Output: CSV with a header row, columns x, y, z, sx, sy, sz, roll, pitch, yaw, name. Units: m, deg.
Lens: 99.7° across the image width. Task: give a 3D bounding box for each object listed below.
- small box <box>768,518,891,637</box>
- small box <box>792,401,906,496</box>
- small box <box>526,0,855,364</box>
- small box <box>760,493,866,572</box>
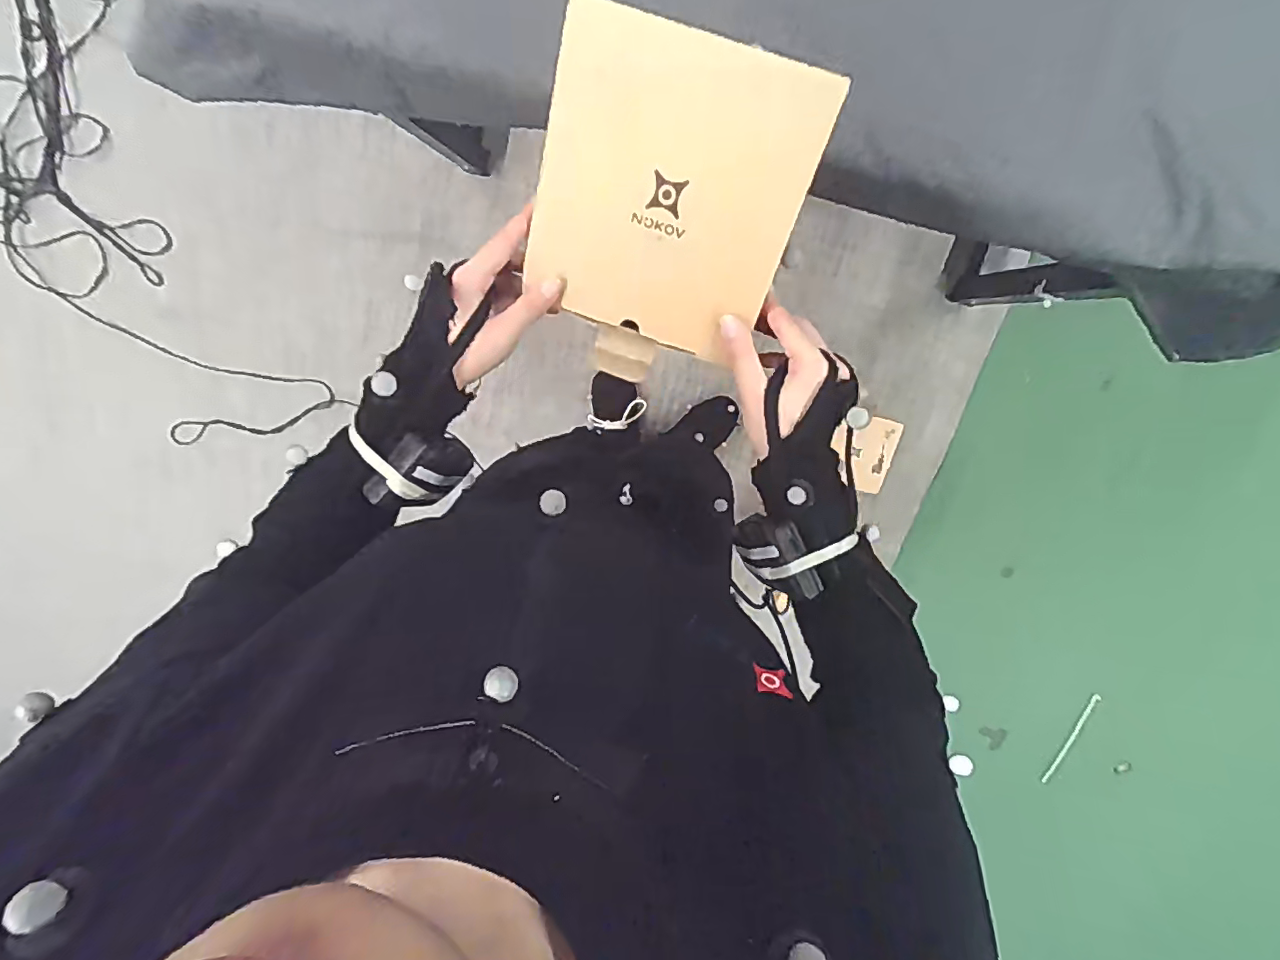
x,y,z,sx,sy,sz,roll,pitch,yaw,name
0.392,0.198,1.153,0.179,0.176,0.168,19,105,0,small box
0.465,-0.080,1.239,0.179,0.176,0.168,14,105,0,small box
0.032,-0.215,0.407,0.168,0.176,0.179,19,120,1,small box
0.407,0.147,1.308,0.179,0.176,0.168,19,106,0,small box
